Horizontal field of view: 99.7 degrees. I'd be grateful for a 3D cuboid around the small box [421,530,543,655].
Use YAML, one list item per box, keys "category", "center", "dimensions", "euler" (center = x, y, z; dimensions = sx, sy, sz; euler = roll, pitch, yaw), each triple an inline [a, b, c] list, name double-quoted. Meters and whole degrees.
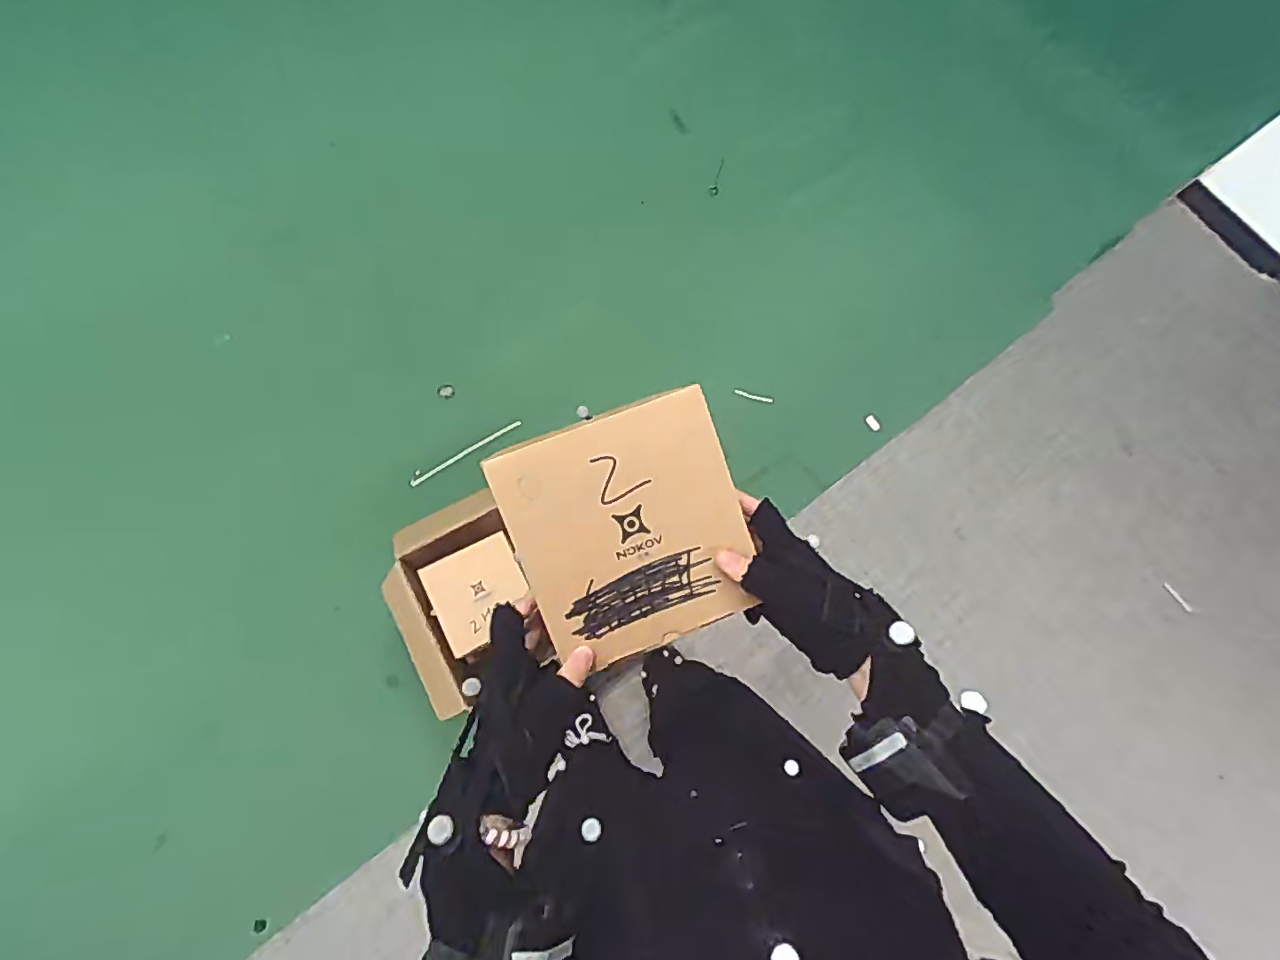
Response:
- category: "small box"
  center: [-0.297, 0.222, 1.047]
  dimensions: [0.168, 0.176, 0.179]
  euler: [-25, 79, -14]
